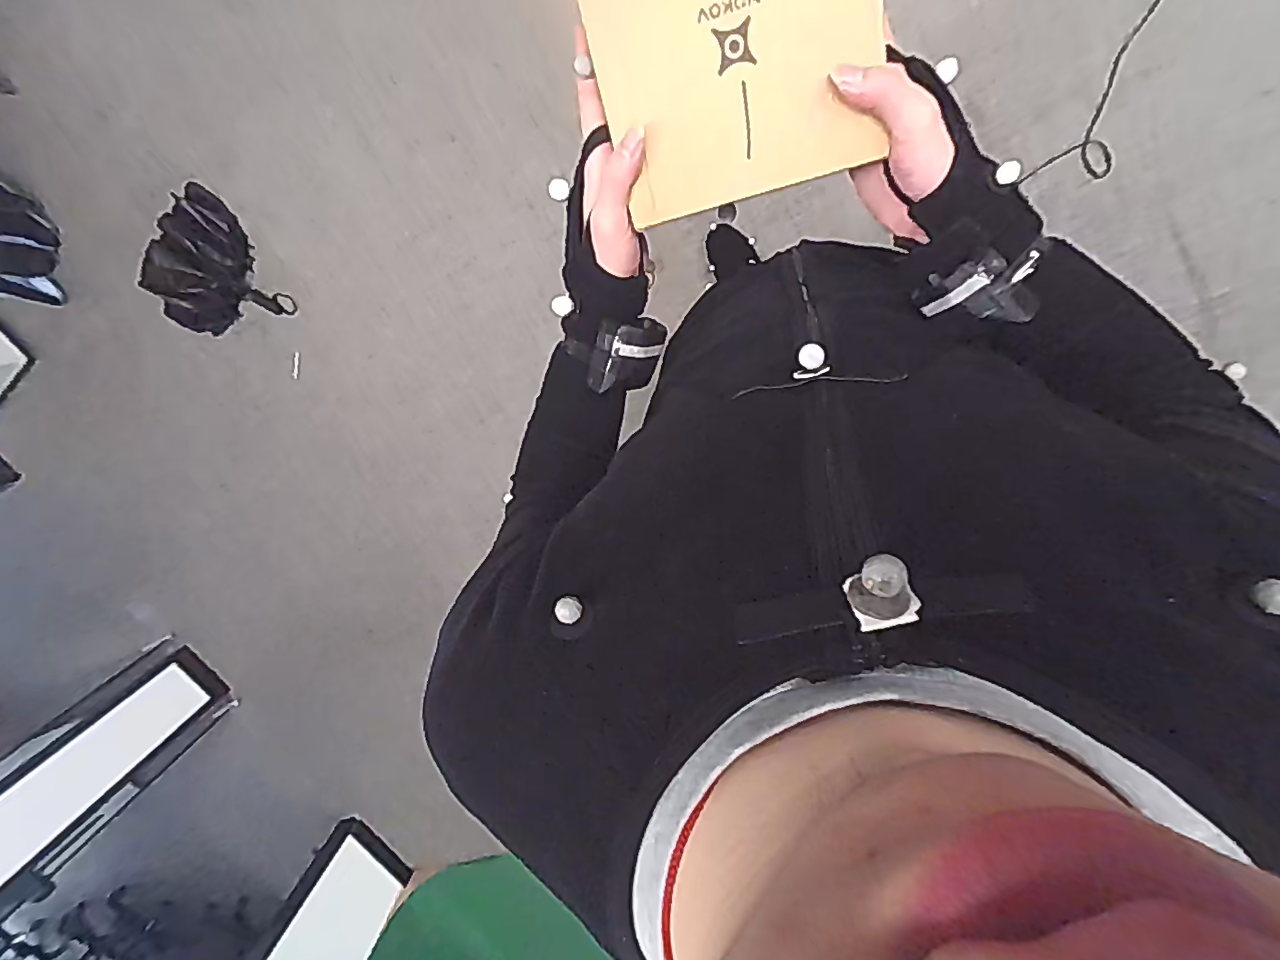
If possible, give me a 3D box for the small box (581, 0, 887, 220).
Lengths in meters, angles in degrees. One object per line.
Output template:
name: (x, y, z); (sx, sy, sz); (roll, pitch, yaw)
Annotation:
small box: (0.053, -0.295, 0.378); (0.168, 0.176, 0.179); (-13, 116, 7)
